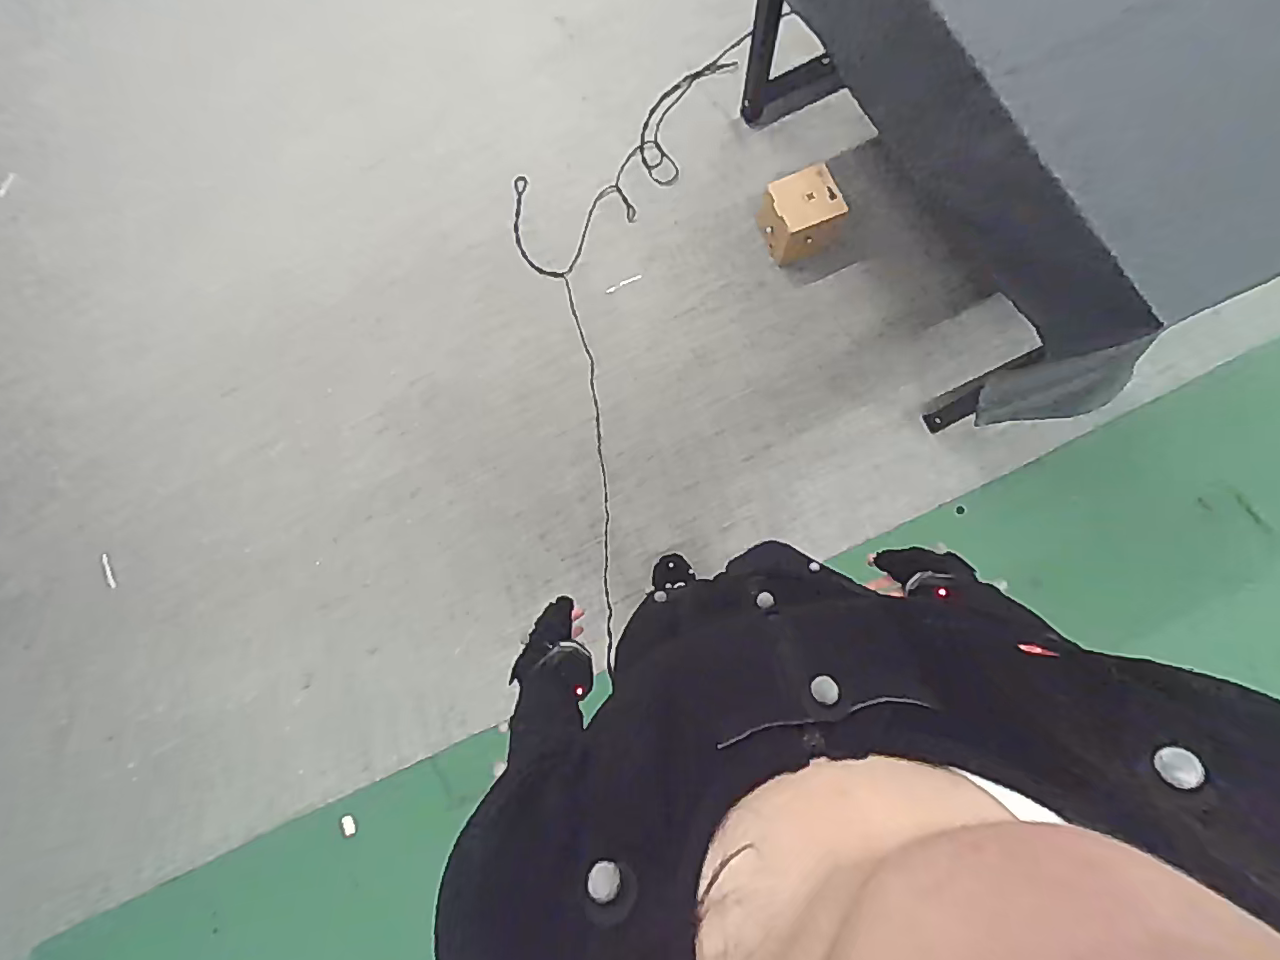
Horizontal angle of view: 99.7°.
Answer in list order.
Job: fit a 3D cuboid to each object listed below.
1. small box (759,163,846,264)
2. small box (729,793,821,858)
[{"bbox_3d":[0.454,-0.753,1.546,0.179,0.176,0.168,-22,80,0],"label":"small box"},{"bbox_3d":[0.327,0.881,1.286,0.168,0.176,0.179,-28,81,-2],"label":"small box"}]
